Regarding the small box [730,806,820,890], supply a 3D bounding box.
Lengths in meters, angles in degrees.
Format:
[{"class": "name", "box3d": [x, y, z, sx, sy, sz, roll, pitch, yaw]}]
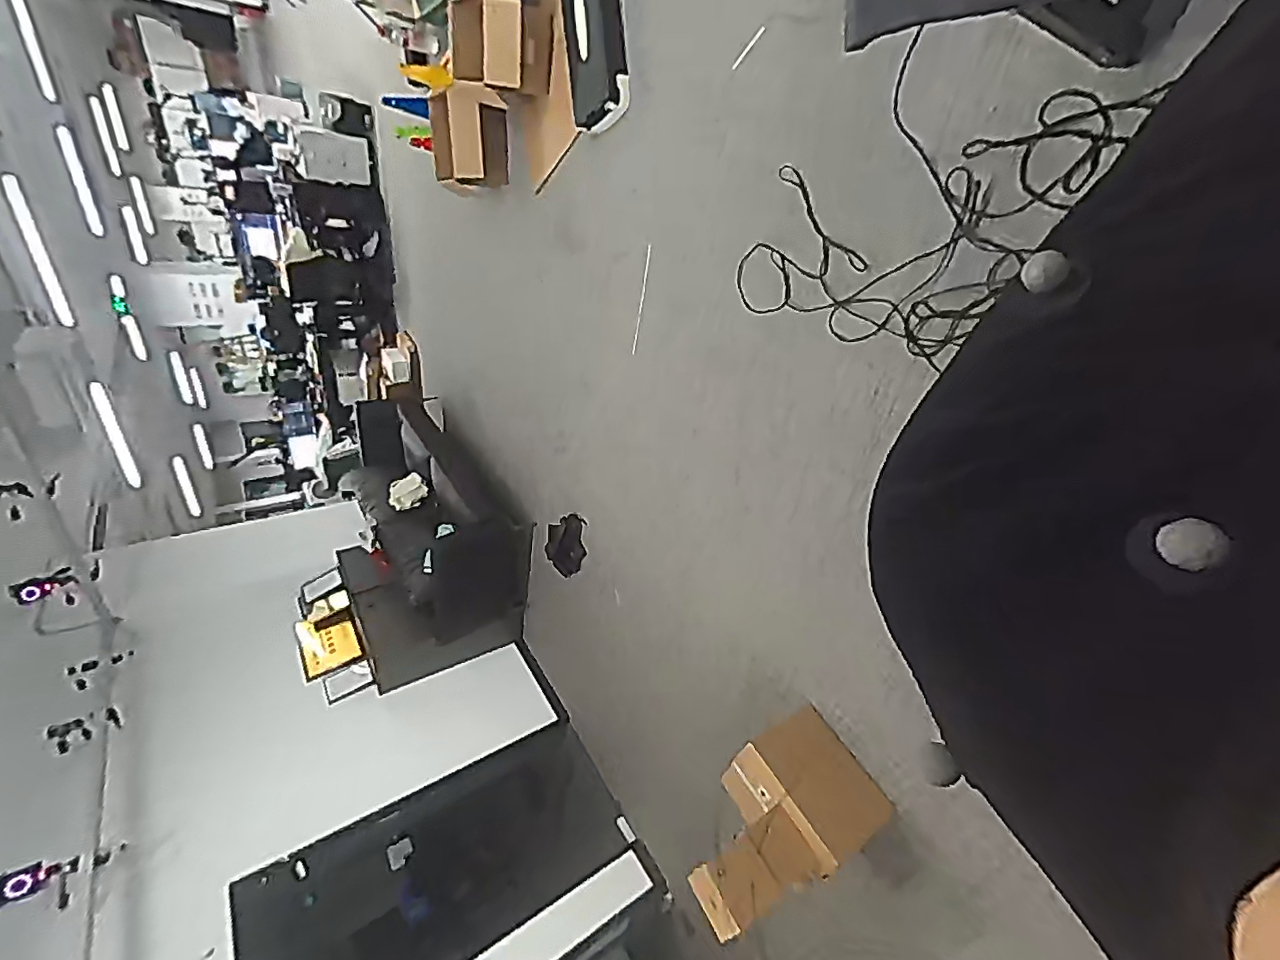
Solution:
[{"class": "small box", "box3d": [0.413, 1.142, 1.666, 0.179, 0.176, 0.168, 49, 140, 34]}]

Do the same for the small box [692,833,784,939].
[{"class": "small box", "box3d": [0.285, 1.174, 1.570, 0.179, 0.176, 0.168, 52, 141, 34]}]

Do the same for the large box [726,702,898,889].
[{"class": "large box", "box3d": [0.571, 1.060, 1.844, 0.408, 0.320, 0.320, 50, 138, 35]}]
